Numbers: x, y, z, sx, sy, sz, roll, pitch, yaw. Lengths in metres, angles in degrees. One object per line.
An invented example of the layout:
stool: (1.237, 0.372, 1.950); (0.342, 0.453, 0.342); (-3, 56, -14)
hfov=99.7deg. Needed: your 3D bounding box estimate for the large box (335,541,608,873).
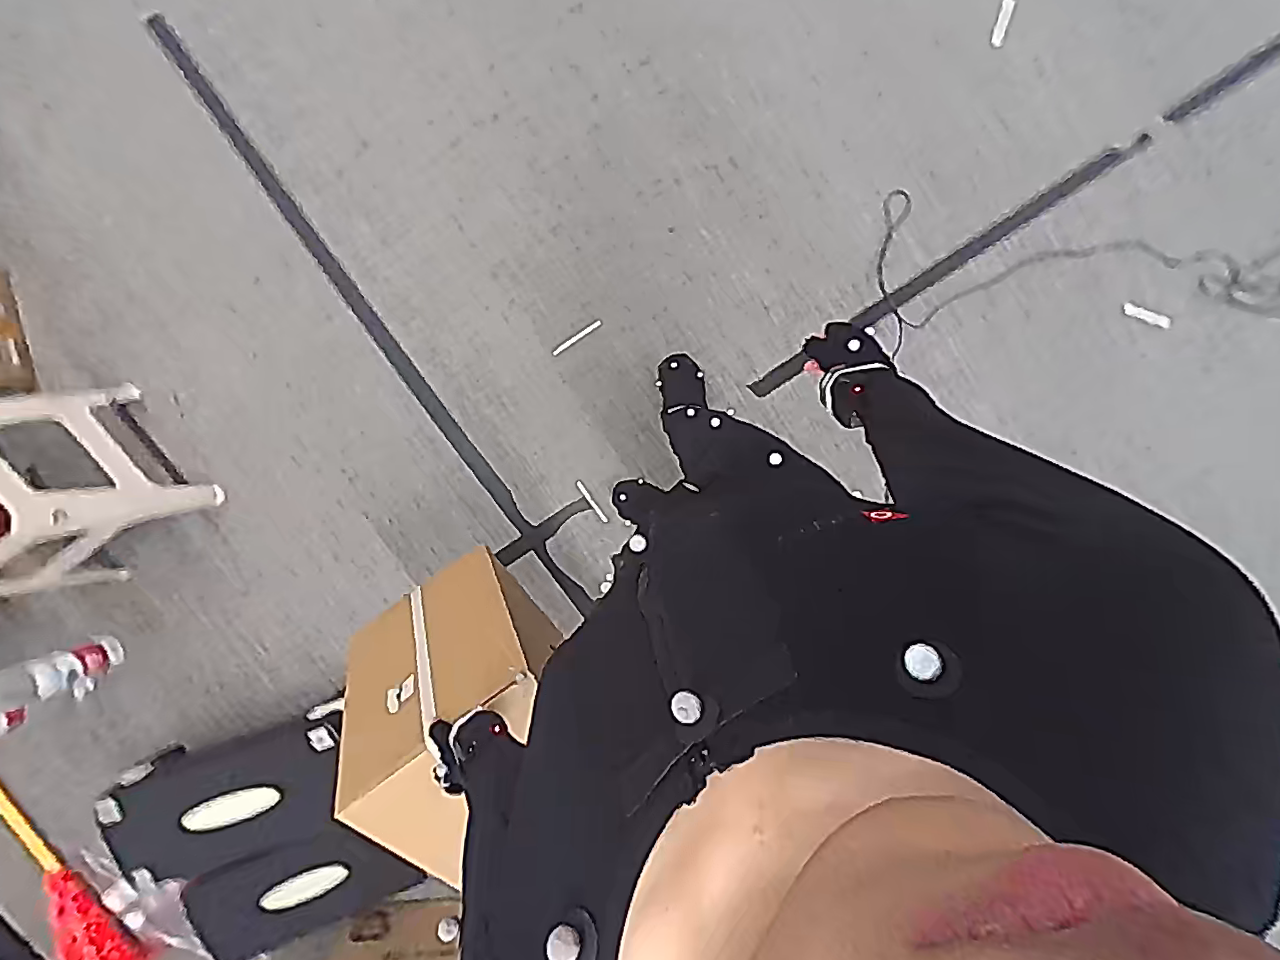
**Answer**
large box: (-0.312, 0.388, 1.000); (0.320, 0.408, 0.320); (-34, 122, -8)
